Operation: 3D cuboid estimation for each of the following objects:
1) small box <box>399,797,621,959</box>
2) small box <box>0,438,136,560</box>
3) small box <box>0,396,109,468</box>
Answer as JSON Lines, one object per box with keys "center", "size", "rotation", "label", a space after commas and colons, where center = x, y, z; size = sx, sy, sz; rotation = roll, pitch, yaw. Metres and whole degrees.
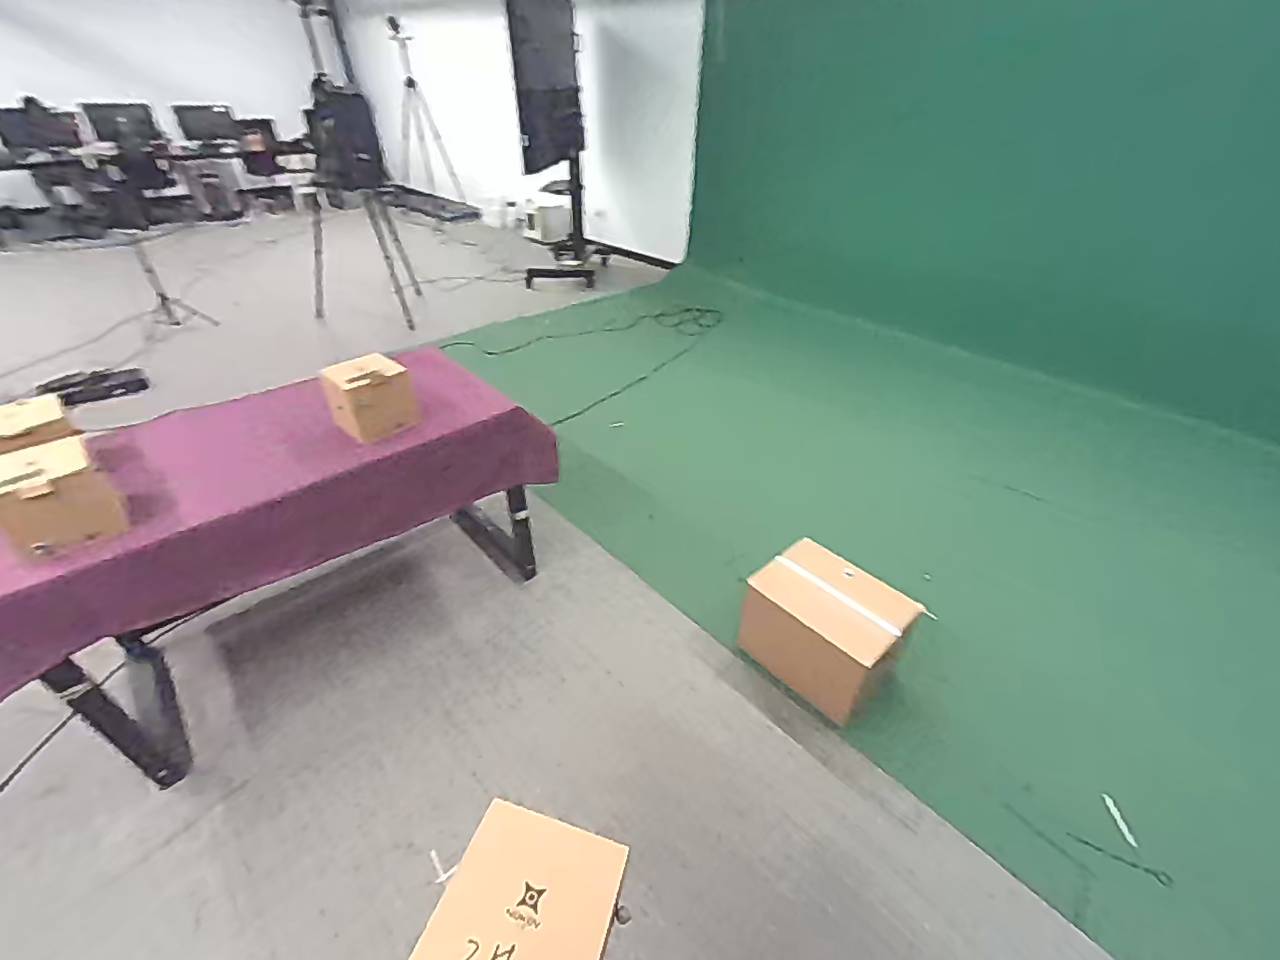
{"center": [-0.130, 0.489, 0.572], "size": [0.168, 0.176, 0.179], "rotation": [13, 29, 10], "label": "small box"}
{"center": [-1.198, 0.043, 1.125], "size": [0.168, 0.176, 0.179], "rotation": [-29, 44, -34], "label": "small box"}
{"center": [-1.405, -0.069, 1.274], "size": [0.179, 0.176, 0.168], "rotation": [30, 45, 33], "label": "small box"}
